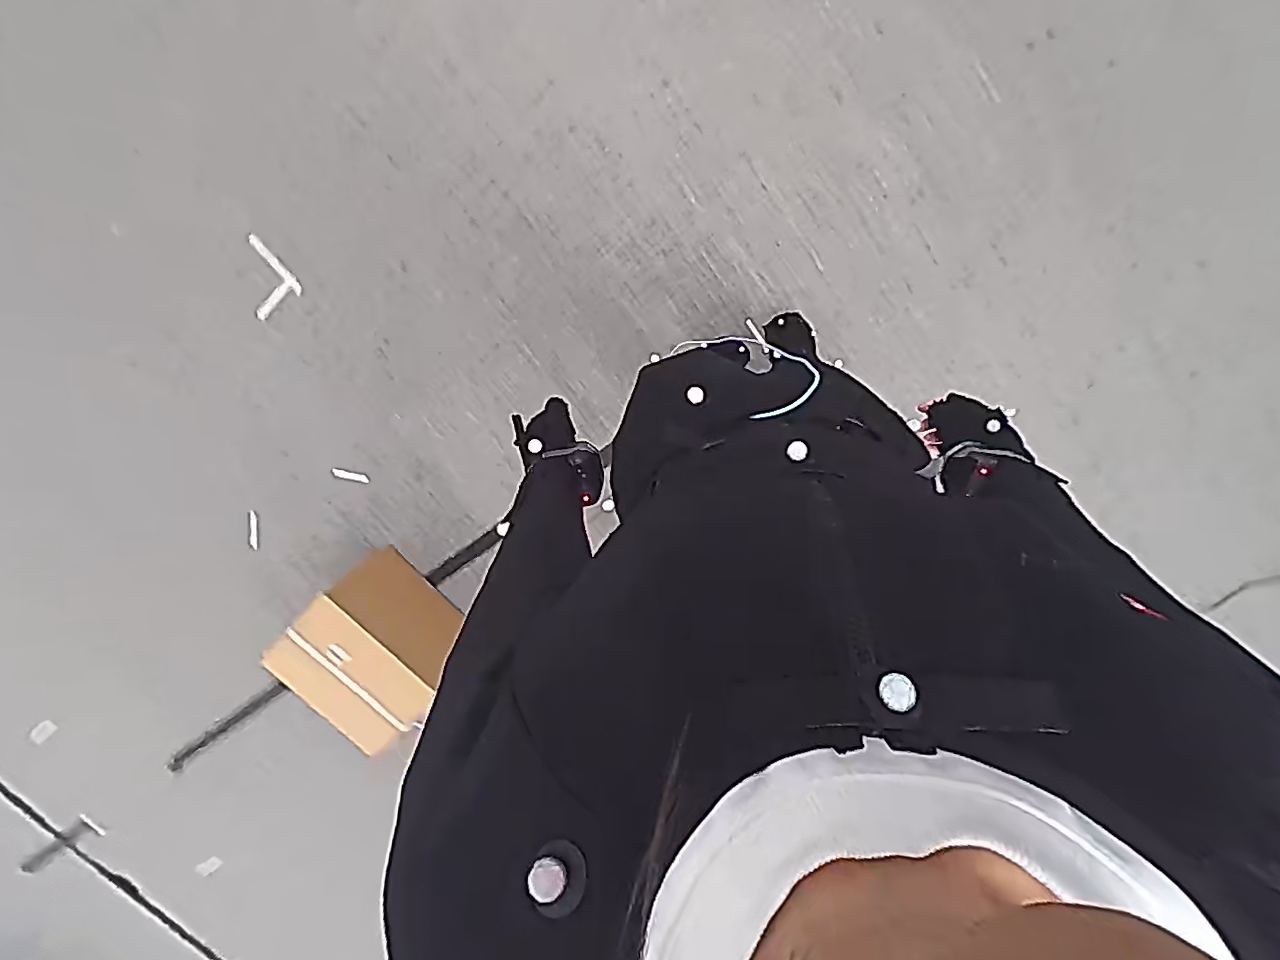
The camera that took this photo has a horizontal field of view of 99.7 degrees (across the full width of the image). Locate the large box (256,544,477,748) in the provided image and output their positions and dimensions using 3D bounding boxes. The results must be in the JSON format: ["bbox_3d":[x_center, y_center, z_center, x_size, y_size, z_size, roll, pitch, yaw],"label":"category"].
[{"bbox_3d":[-0.762,0.465,1.564,0.320,0.320,0.408,-41,98,15],"label":"large box"}]
